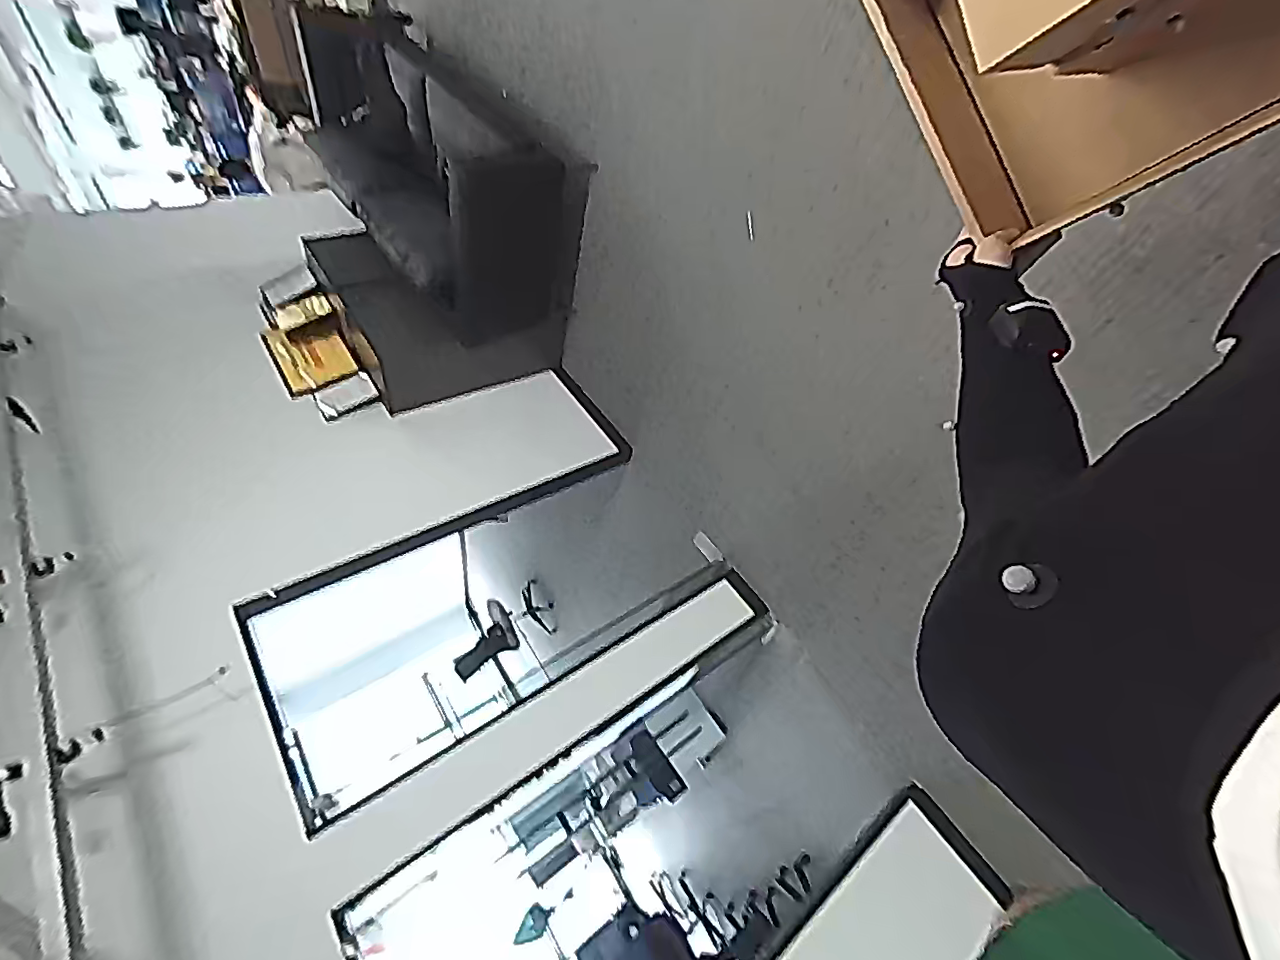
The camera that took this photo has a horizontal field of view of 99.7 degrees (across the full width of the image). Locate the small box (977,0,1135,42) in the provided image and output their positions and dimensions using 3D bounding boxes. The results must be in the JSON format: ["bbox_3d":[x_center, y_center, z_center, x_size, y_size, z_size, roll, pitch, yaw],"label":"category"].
[{"bbox_3d":[0.337,-0.446,0.372,0.168,0.176,0.179,-7,111,55],"label":"small box"}]

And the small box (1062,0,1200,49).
[{"bbox_3d":[0.457,-0.512,0.461,0.168,0.176,0.179,-14,105,56],"label":"small box"}]
